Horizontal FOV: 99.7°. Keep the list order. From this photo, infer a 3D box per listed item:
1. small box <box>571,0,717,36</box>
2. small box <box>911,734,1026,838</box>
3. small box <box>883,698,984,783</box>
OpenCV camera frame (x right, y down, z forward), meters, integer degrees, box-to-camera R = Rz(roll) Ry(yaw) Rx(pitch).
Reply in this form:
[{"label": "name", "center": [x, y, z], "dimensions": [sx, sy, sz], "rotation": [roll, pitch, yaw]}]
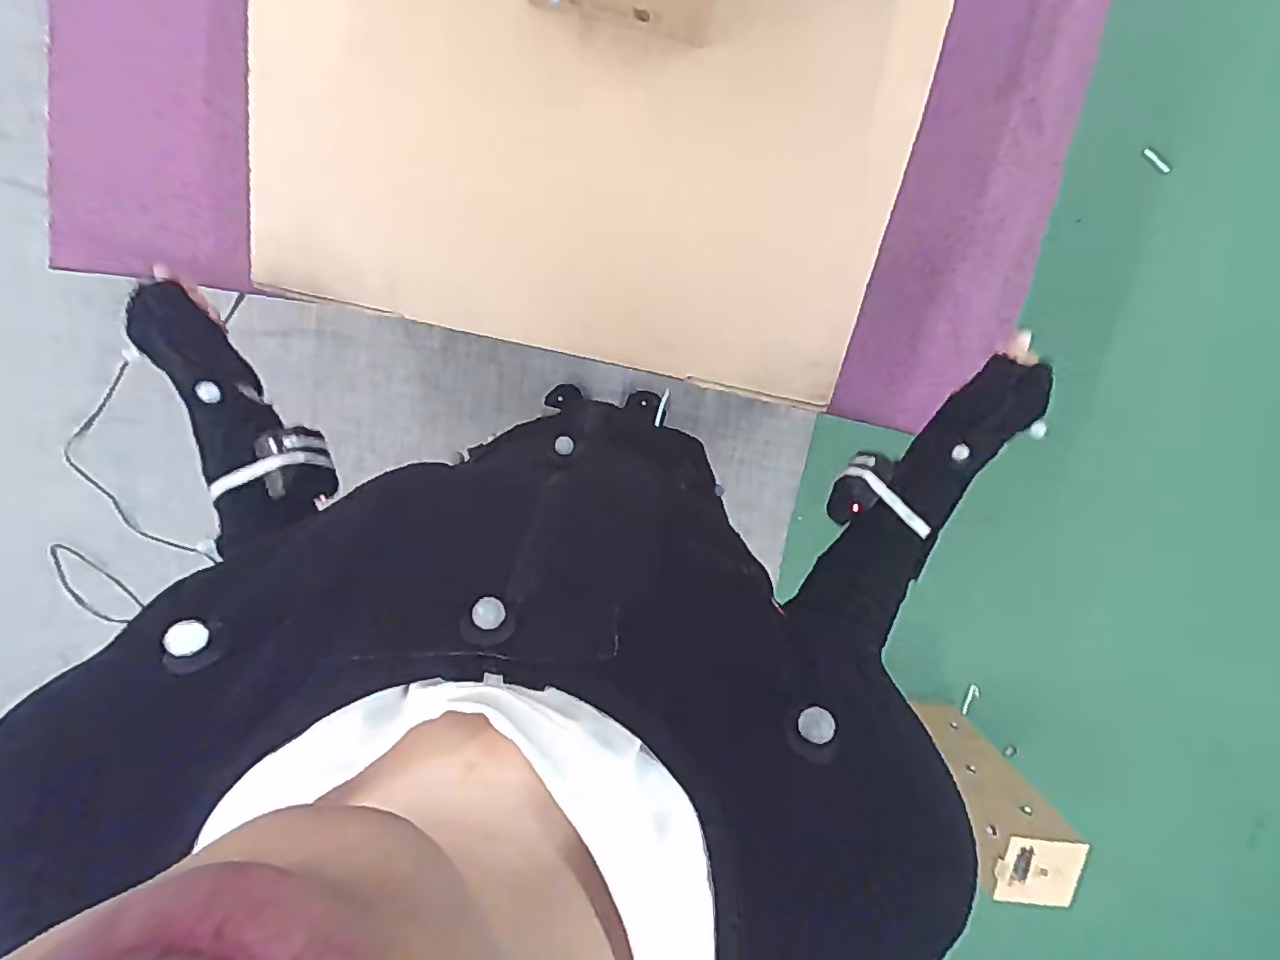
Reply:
[{"label": "small box", "center": [-0.001, -0.475, 0.387], "dimensions": [0.168, 0.176, 0.179], "rotation": [12, 98, -3]}, {"label": "small box", "center": [0.845, 0.788, 1.407], "dimensions": [0.179, 0.176, 0.168], "rotation": [7, 102, -1]}, {"label": "small box", "center": [0.842, 0.757, 1.567], "dimensions": [0.179, 0.176, 0.168], "rotation": [8, 101, -2]}]
